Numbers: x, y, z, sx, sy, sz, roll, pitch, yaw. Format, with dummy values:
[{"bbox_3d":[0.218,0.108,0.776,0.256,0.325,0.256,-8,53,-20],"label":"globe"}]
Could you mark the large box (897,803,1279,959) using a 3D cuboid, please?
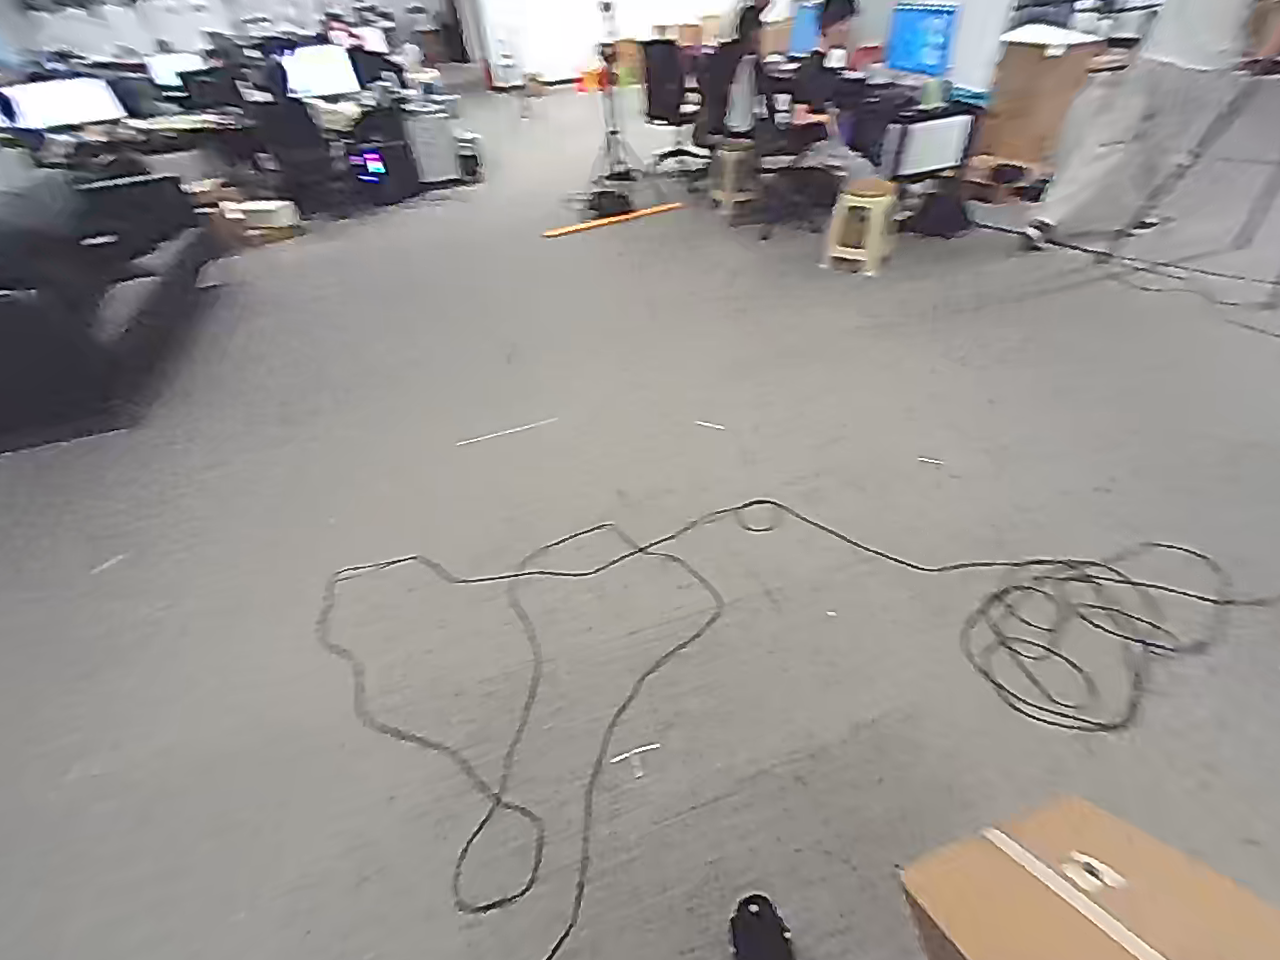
[{"bbox_3d":[0.595,0.673,0.624,0.320,0.408,0.320,-18,85,-6],"label":"large box"}]
